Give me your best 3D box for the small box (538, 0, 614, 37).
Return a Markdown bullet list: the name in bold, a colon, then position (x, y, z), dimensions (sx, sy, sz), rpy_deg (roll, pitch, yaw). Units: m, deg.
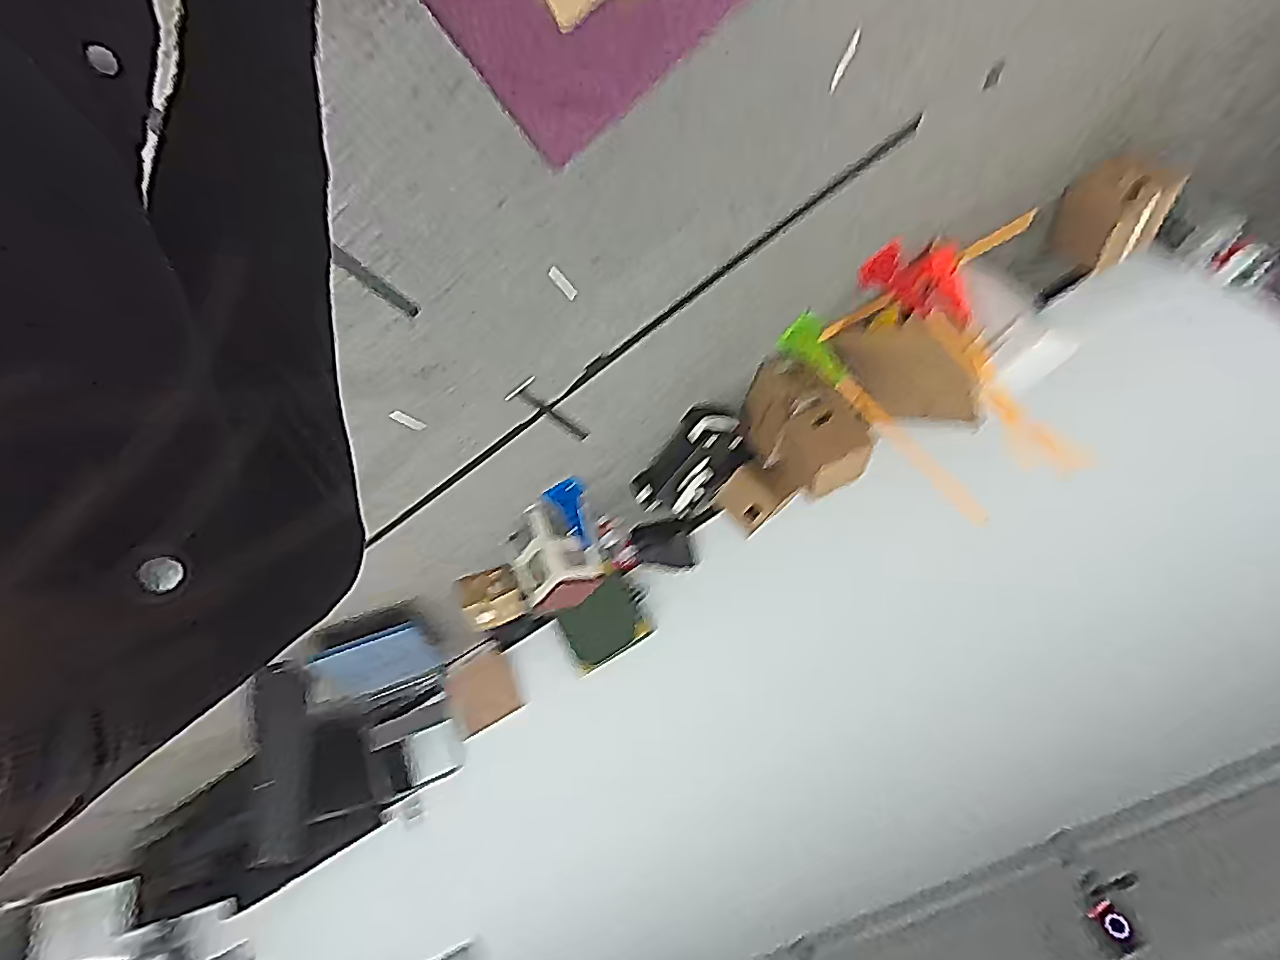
- **small box**: position (-0.073, -0.563, 0.480), dimensions (0.168, 0.176, 0.179), rpy_deg (-33, 151, 11)
